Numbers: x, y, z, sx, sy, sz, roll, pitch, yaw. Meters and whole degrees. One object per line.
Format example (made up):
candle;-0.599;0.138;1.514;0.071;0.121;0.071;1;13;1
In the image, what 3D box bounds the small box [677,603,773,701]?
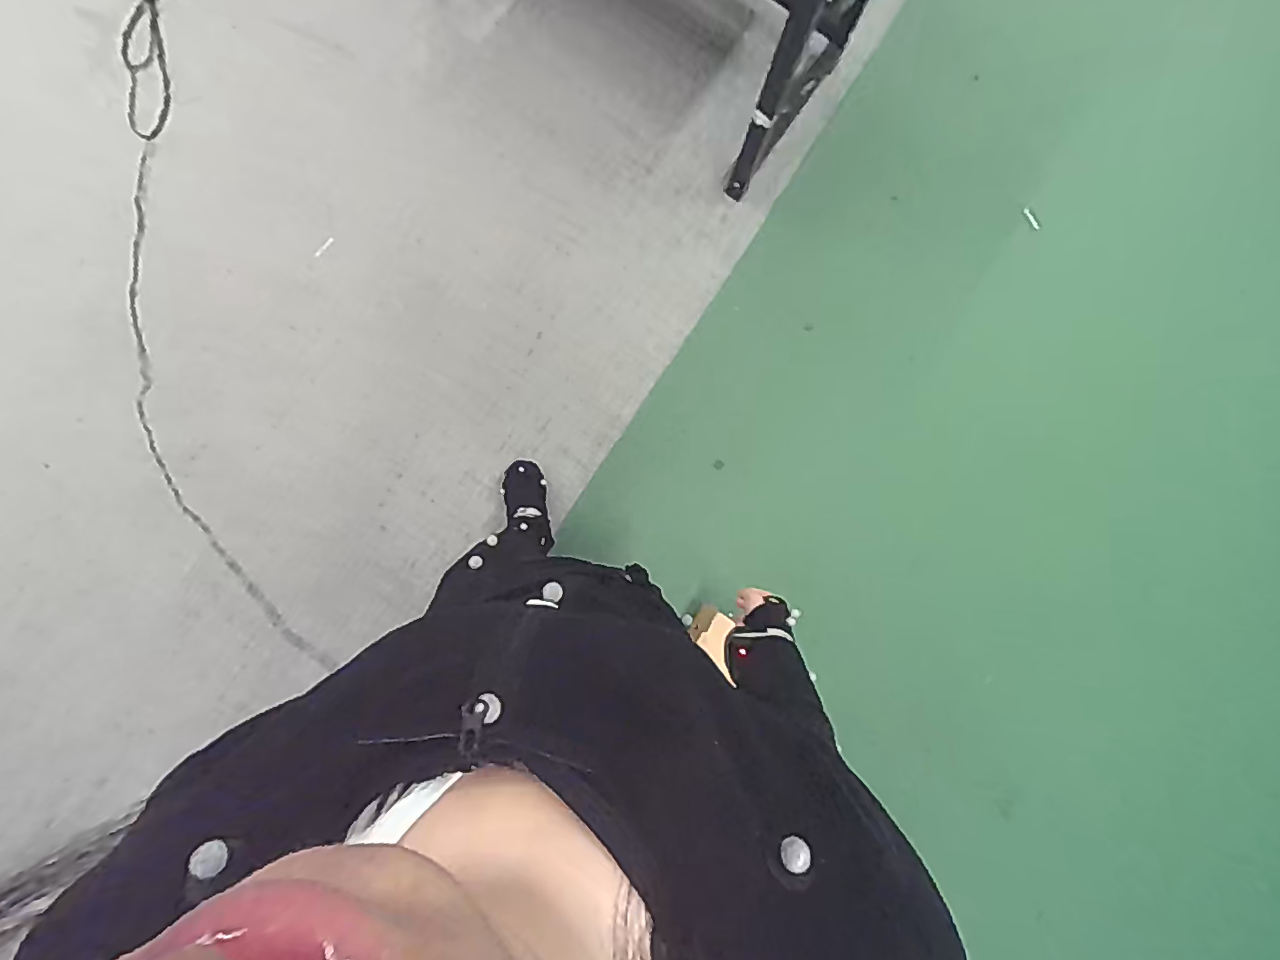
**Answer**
small box;0.216;0.444;1.429;0.179;0.176;0.168;32;84;0
